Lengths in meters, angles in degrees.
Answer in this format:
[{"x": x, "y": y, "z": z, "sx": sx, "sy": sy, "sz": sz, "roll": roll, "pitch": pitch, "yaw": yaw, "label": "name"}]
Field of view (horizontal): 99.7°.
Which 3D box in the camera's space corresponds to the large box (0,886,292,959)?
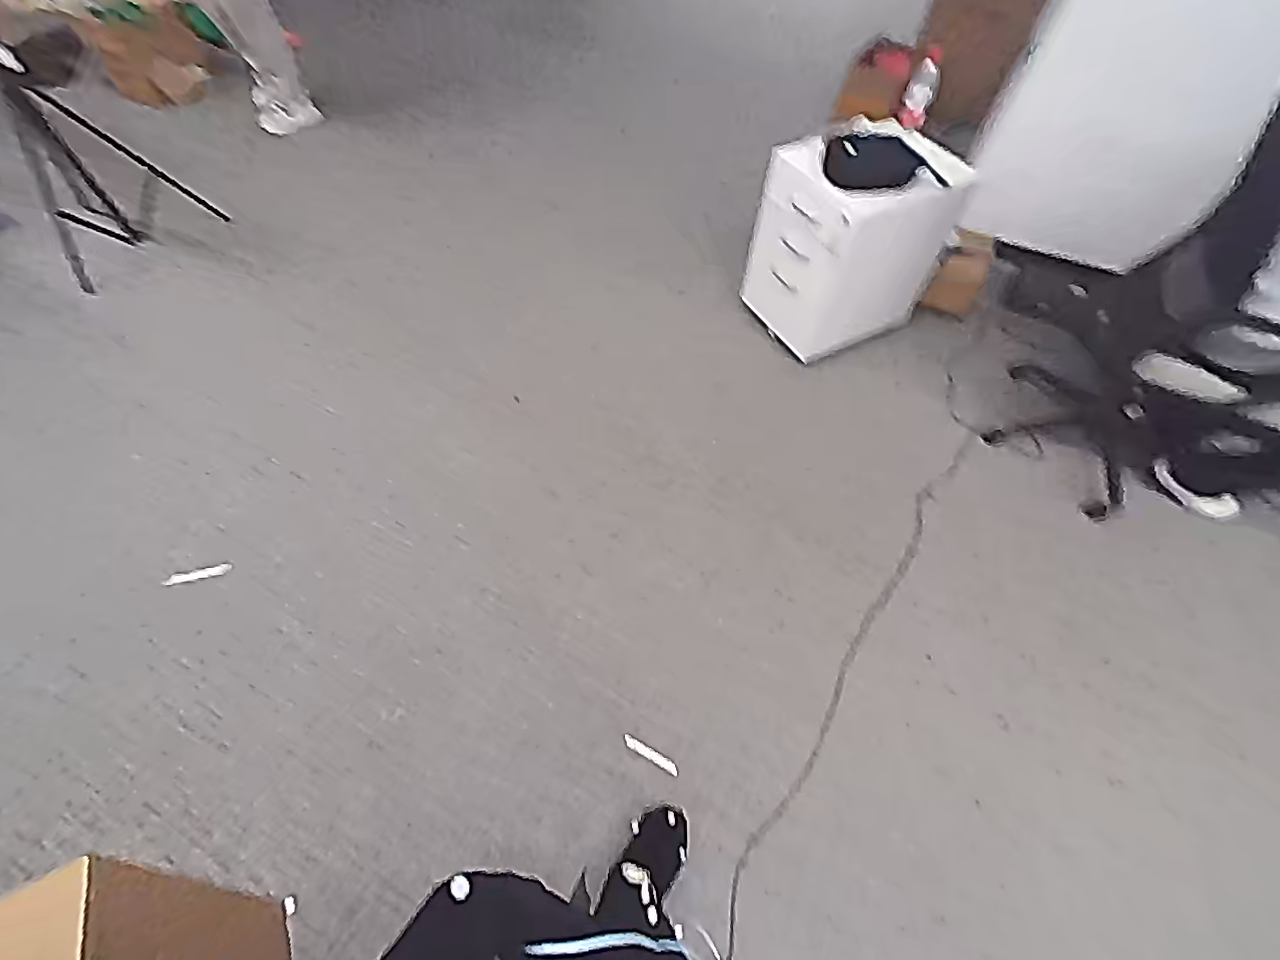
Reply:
[{"x": -0.600, "y": 0.697, "z": 0.549, "sx": 0.320, "sy": 0.408, "sz": 0.320, "roll": -24, "pitch": 50, "yaw": -21, "label": "large box"}]
